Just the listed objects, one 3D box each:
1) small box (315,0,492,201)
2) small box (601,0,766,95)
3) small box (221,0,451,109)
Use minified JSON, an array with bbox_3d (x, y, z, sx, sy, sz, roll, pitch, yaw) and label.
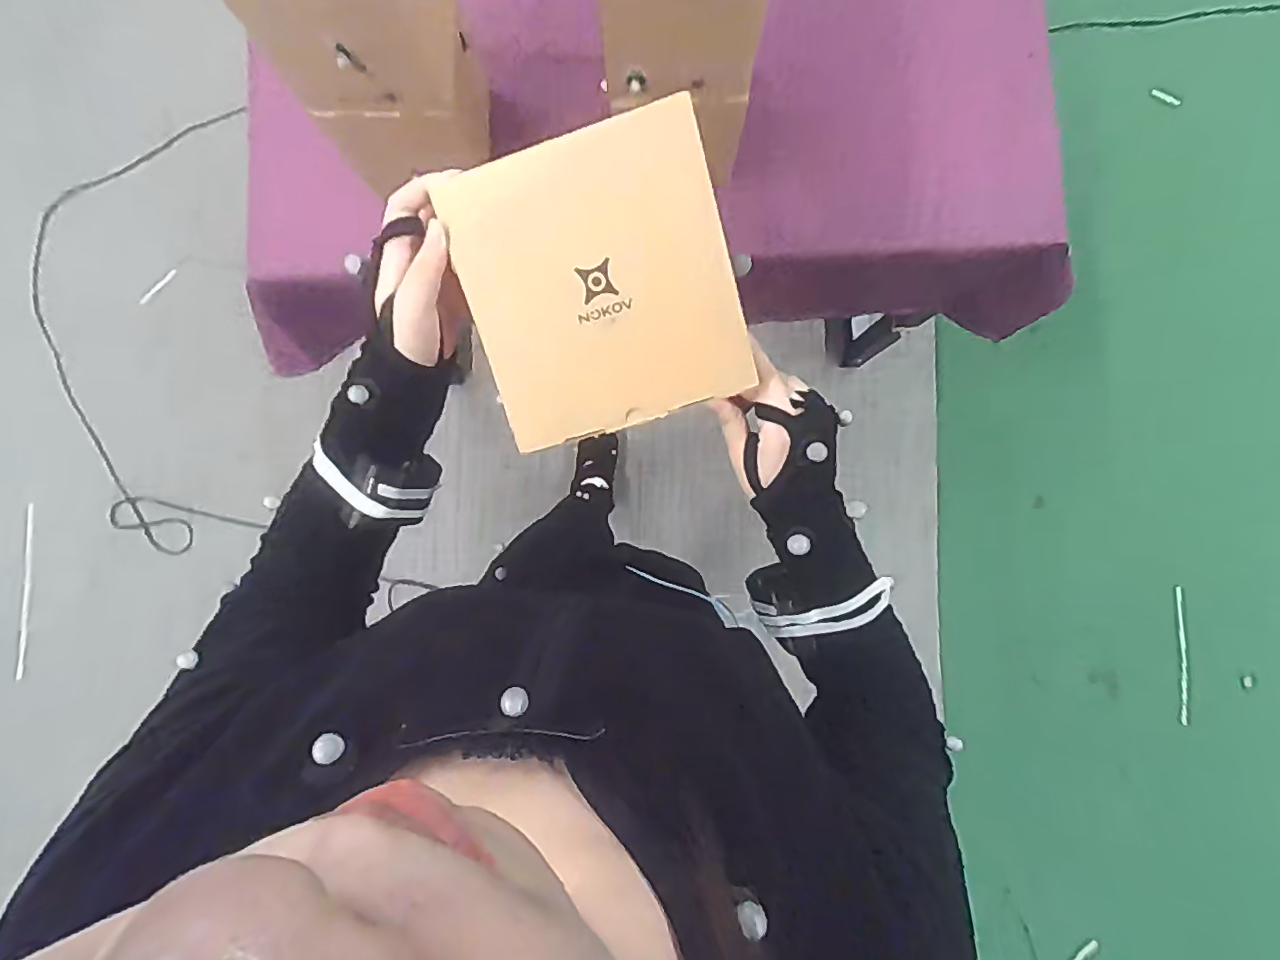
[{"bbox_3d":[-0.304,-0.507,0.726,0.168,0.176,0.179,-1,86,1],"label":"small box"},{"bbox_3d":[0.042,-0.538,0.562,0.168,0.176,0.179,-2,85,0],"label":"small box"},{"bbox_3d":[-0.305,-0.523,0.562,0.168,0.176,0.179,-1,86,0],"label":"small box"}]
